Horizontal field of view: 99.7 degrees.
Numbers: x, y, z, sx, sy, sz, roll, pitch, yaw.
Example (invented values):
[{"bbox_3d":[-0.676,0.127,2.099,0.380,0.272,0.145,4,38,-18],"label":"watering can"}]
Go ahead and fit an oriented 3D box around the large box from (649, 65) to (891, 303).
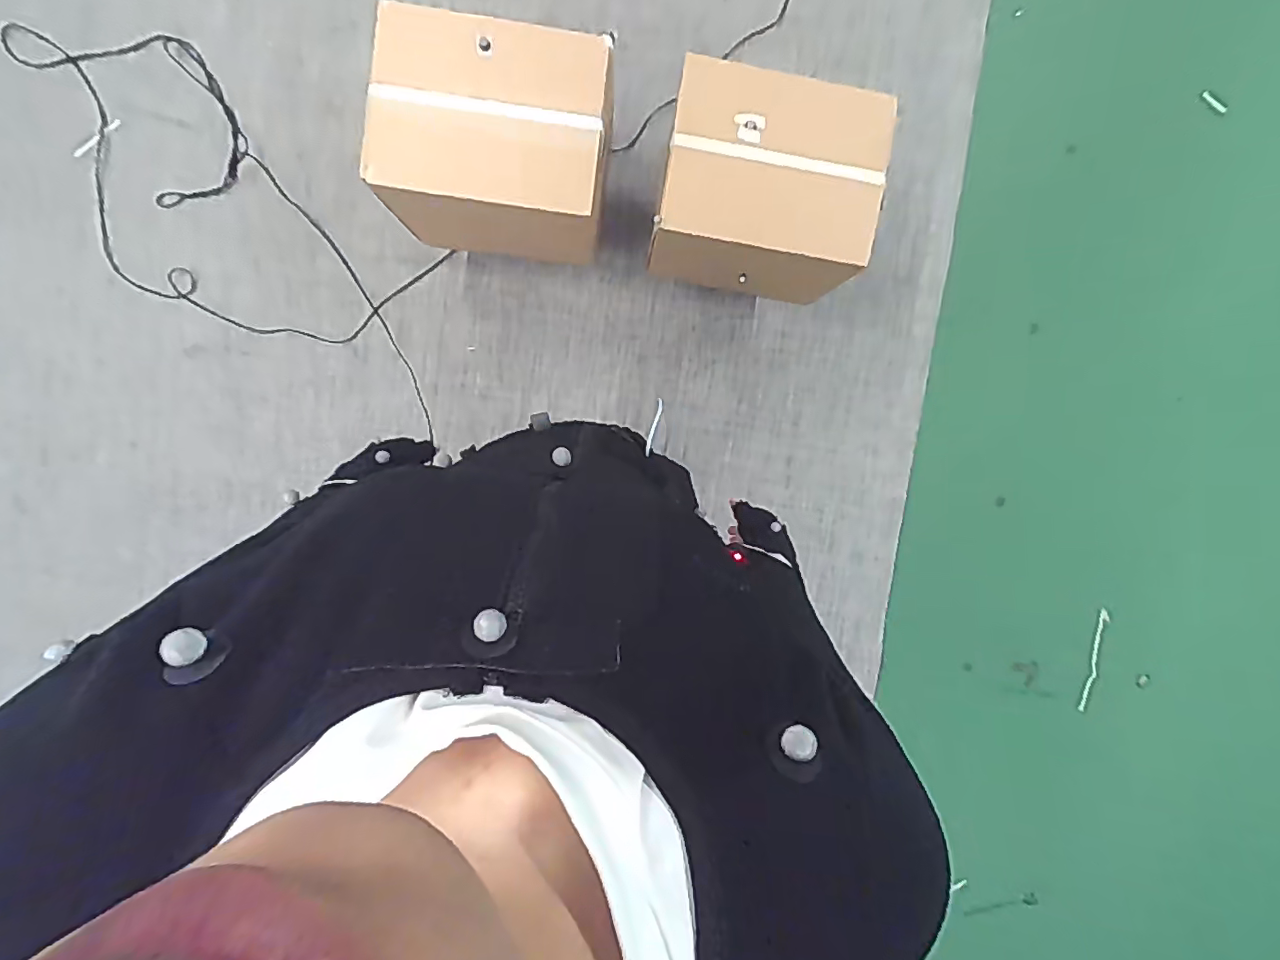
[{"bbox_3d":[0.248,-0.595,1.159,0.408,0.320,0.320,9,93,-4],"label":"large box"}]
